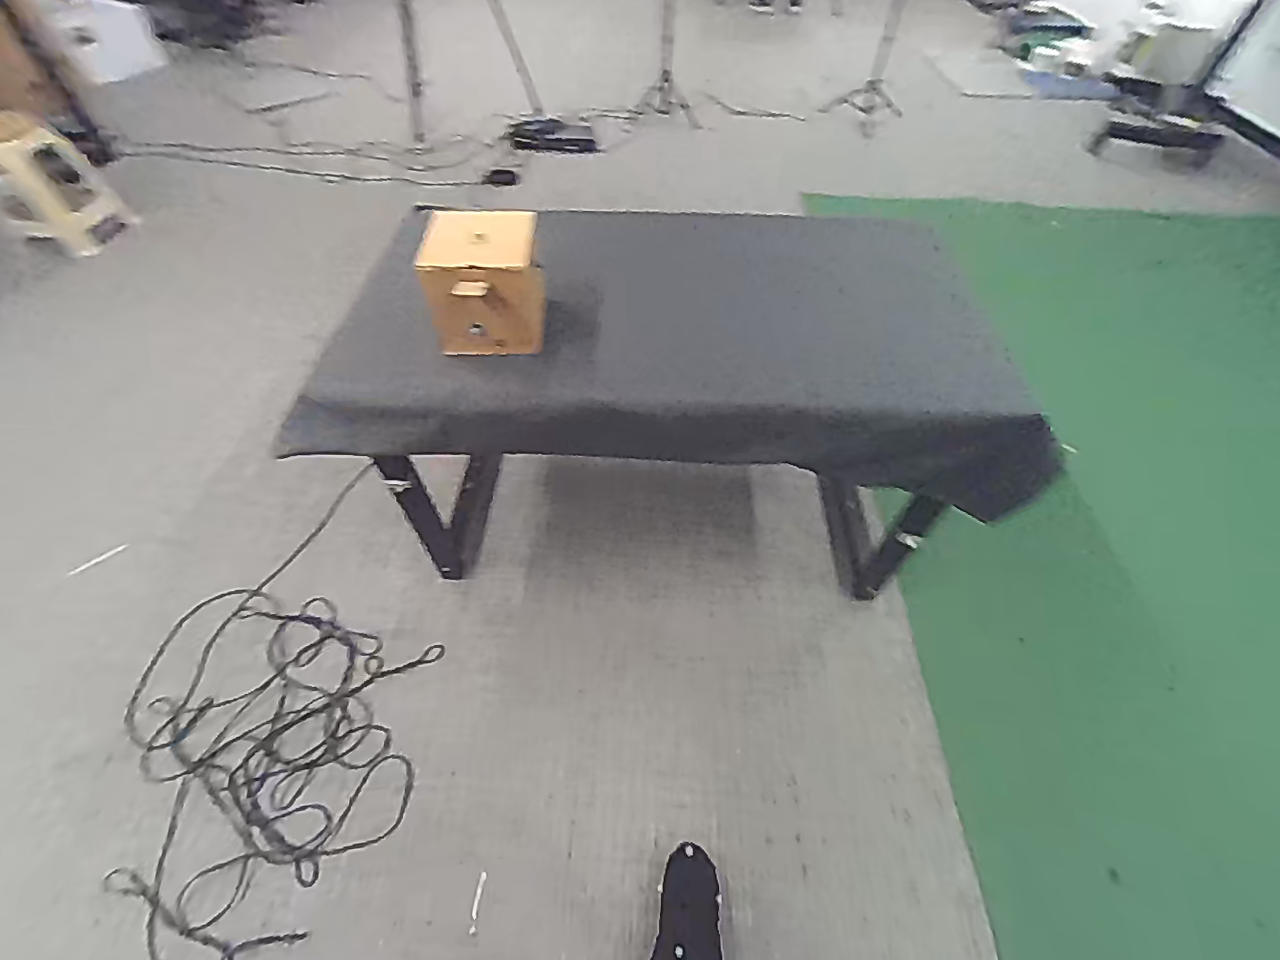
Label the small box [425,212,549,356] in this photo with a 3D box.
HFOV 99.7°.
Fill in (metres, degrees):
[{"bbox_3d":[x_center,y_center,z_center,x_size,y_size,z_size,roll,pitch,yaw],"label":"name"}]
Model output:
[{"bbox_3d":[-0.251,-0.336,0.932,0.168,0.176,0.179,-1,52,-3],"label":"small box"}]
